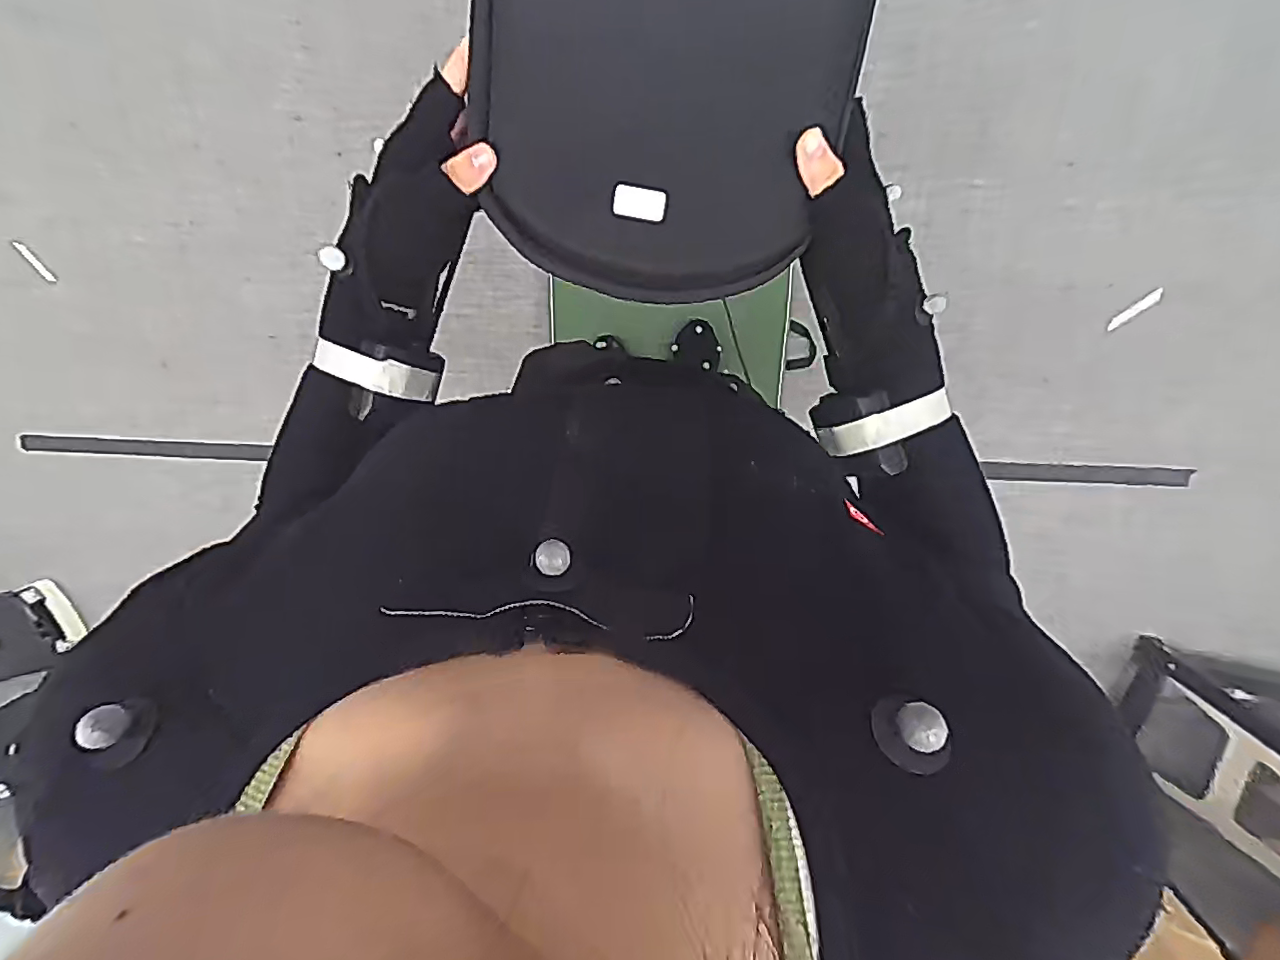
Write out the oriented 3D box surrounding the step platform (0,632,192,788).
[{"bbox_3d":[-1.911,0.784,1.834,0.684,0.204,0.286,-26,103,11],"label":"step platform"}]
